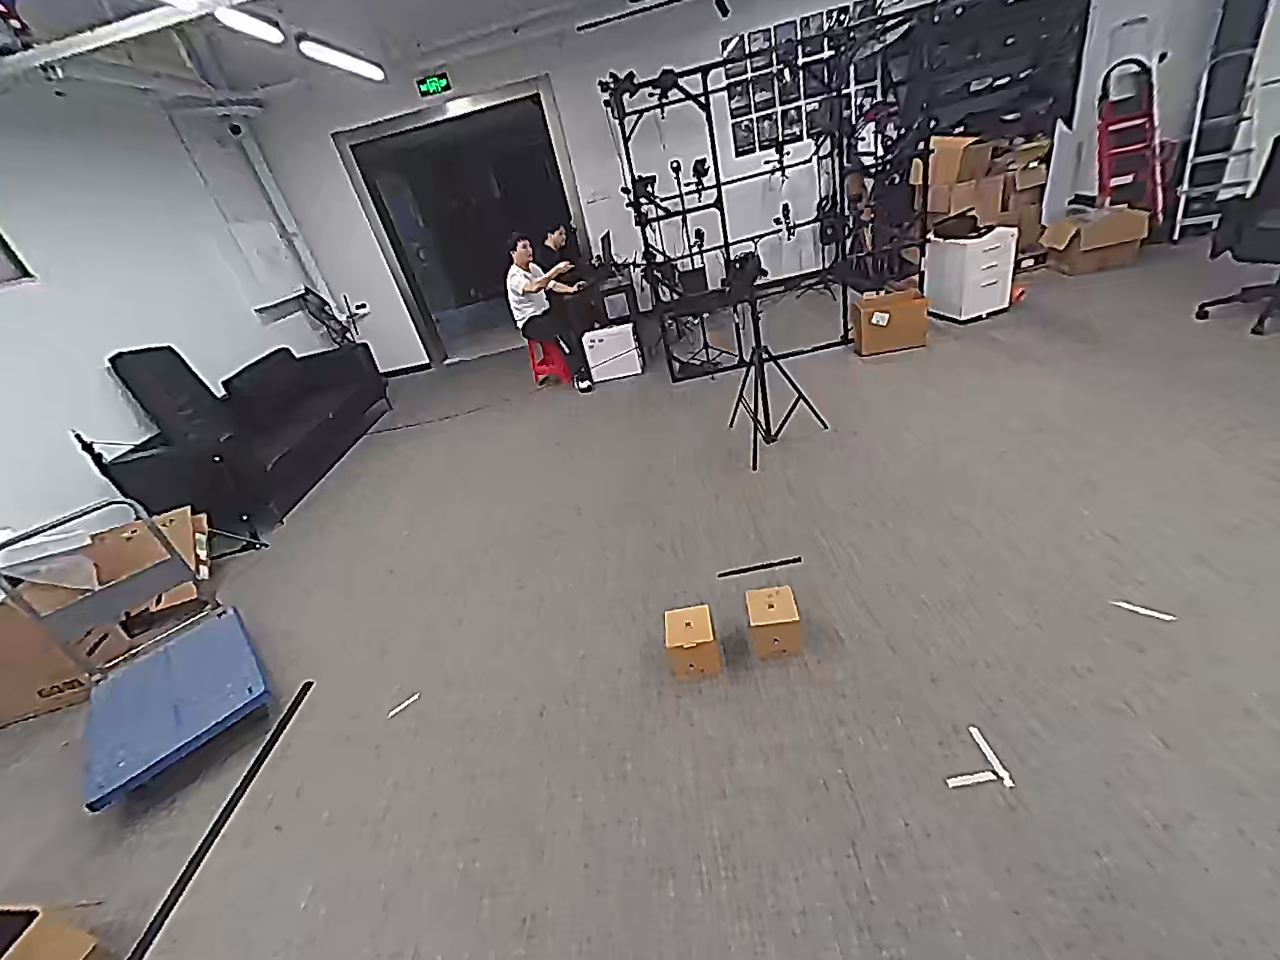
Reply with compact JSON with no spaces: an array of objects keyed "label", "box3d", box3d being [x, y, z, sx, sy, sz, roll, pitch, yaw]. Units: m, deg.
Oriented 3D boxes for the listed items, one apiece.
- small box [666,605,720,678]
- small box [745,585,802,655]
[{"label":"small box","box3d":[0.189,0.582,1.946,0.168,0.176,0.179,-11,30,7]},{"label":"small box","box3d":[0.477,0.507,1.937,0.168,0.176,0.179,-9,29,9]}]
